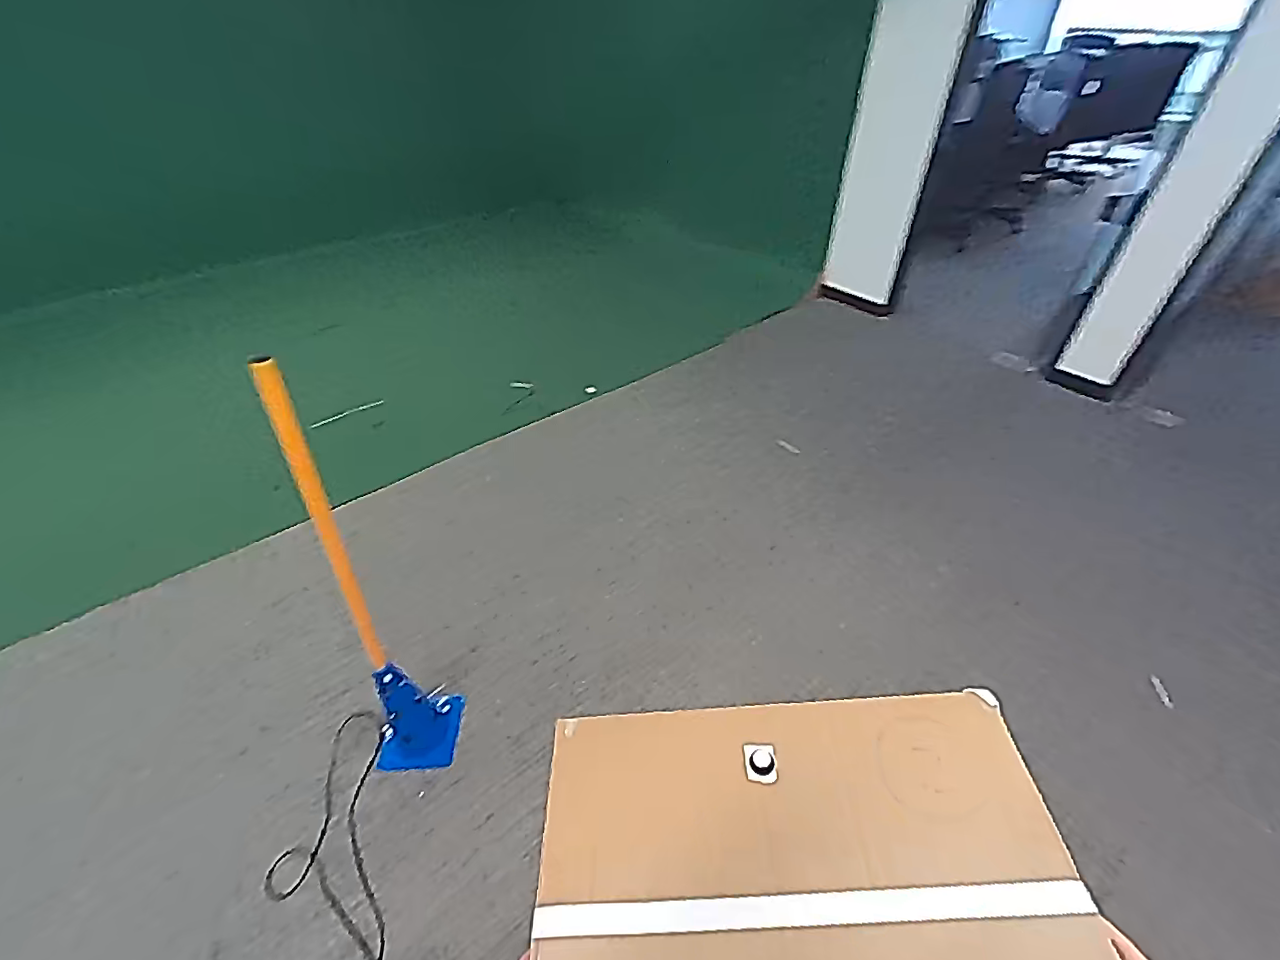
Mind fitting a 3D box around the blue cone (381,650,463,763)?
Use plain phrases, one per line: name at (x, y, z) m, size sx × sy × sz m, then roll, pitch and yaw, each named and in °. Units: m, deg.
blue cone at (-0.594, 0.551, 1.377) m, size 0.192 × 0.380 × 0.193 m, roll -3°, pitch 41°, yaw -4°
